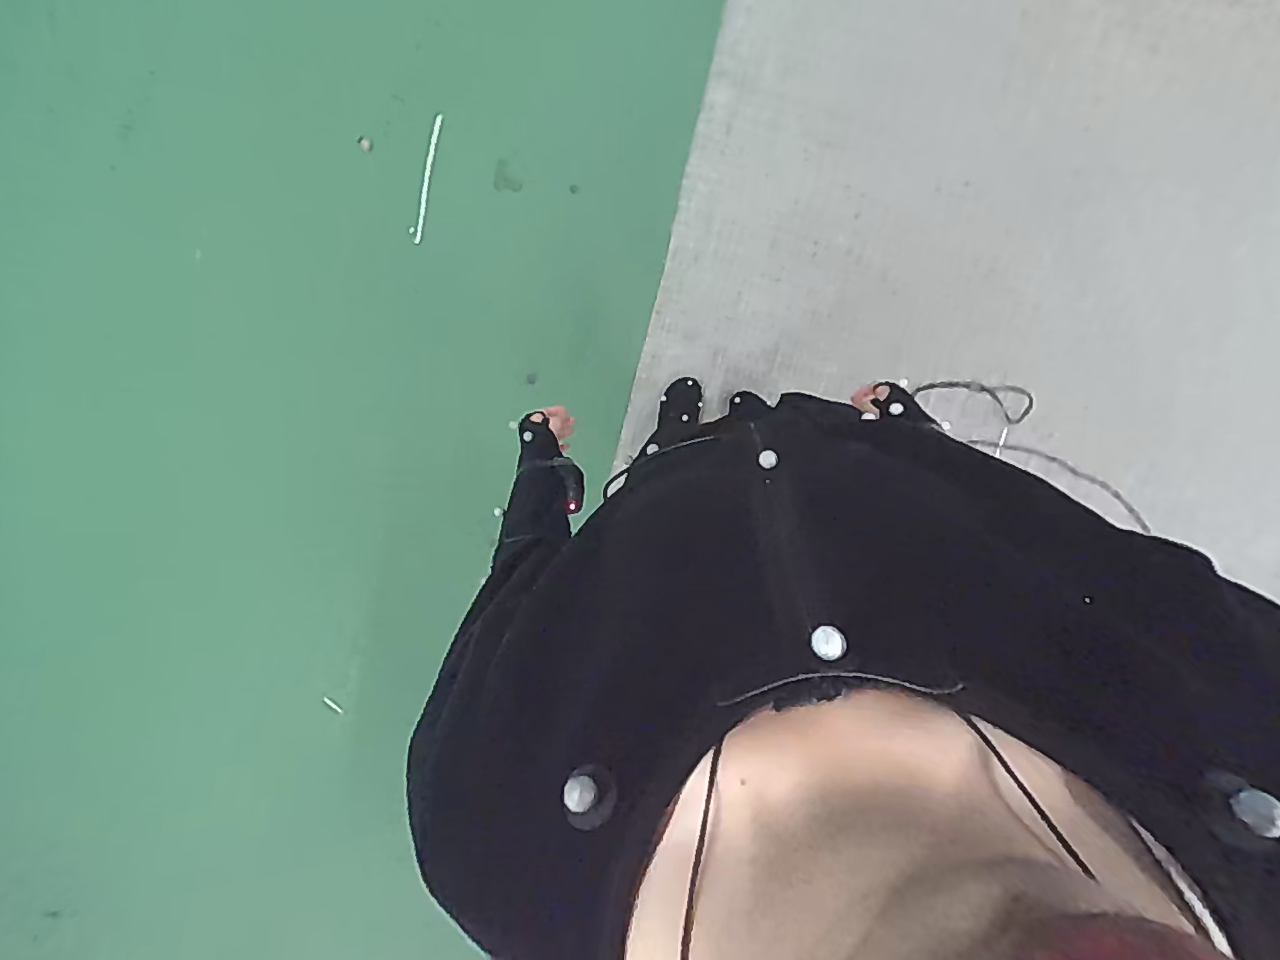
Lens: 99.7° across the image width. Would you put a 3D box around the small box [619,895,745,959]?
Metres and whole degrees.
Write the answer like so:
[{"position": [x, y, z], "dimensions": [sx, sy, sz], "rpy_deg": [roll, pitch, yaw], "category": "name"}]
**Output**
[{"position": [0.057, 0.791, 0.830], "dimensions": [0.179, 0.176, 0.168], "rpy_deg": [17, 103, 1], "category": "small box"}]
